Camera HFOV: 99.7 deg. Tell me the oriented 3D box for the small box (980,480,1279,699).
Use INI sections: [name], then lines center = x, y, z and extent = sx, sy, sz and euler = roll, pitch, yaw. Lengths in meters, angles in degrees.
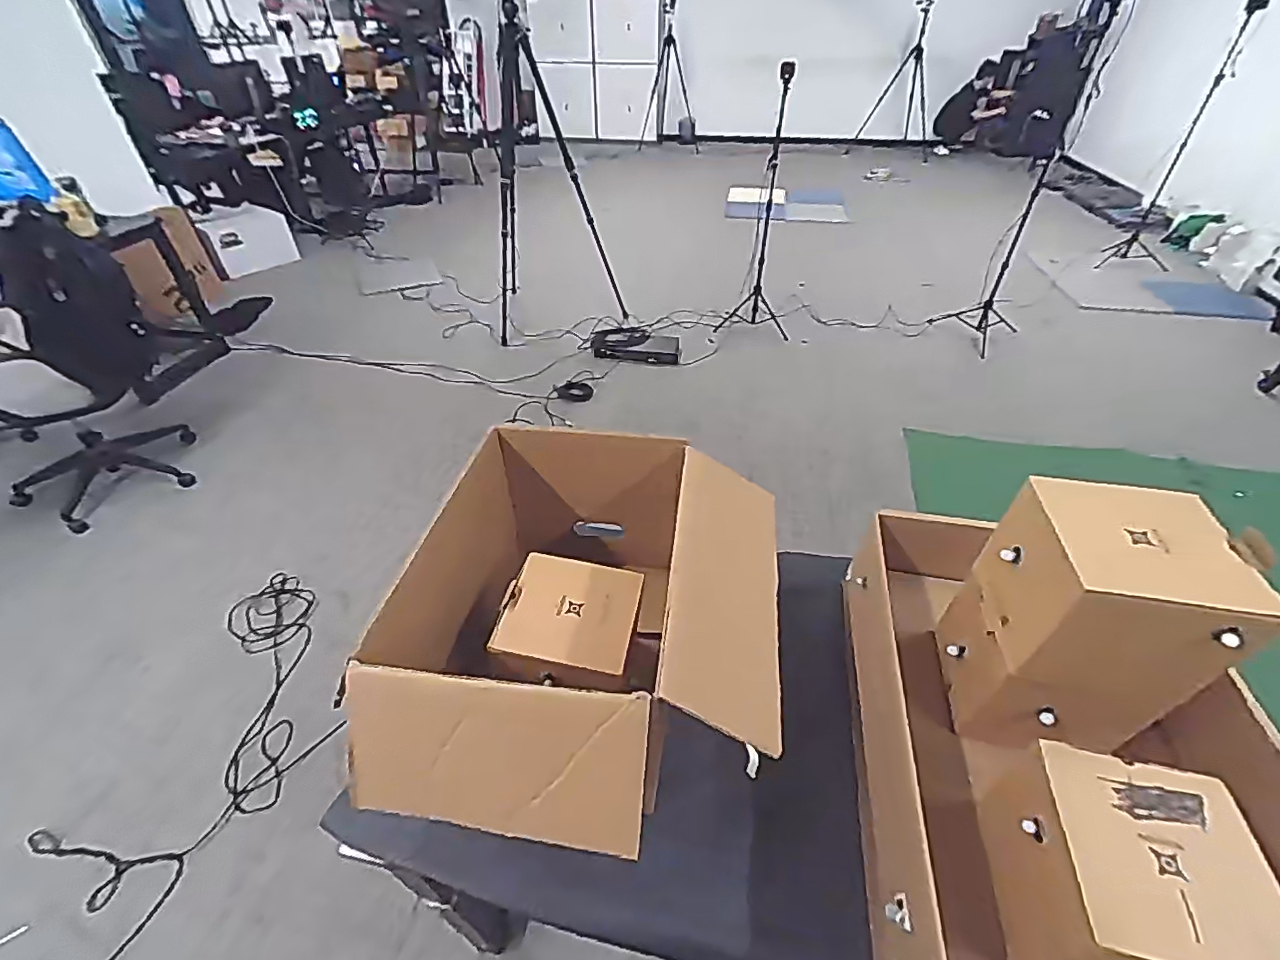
[small box]
center = 0.514, 0.123, 0.609
extent = 0.179, 0.176, 0.168
euler = 7, 43, 8
